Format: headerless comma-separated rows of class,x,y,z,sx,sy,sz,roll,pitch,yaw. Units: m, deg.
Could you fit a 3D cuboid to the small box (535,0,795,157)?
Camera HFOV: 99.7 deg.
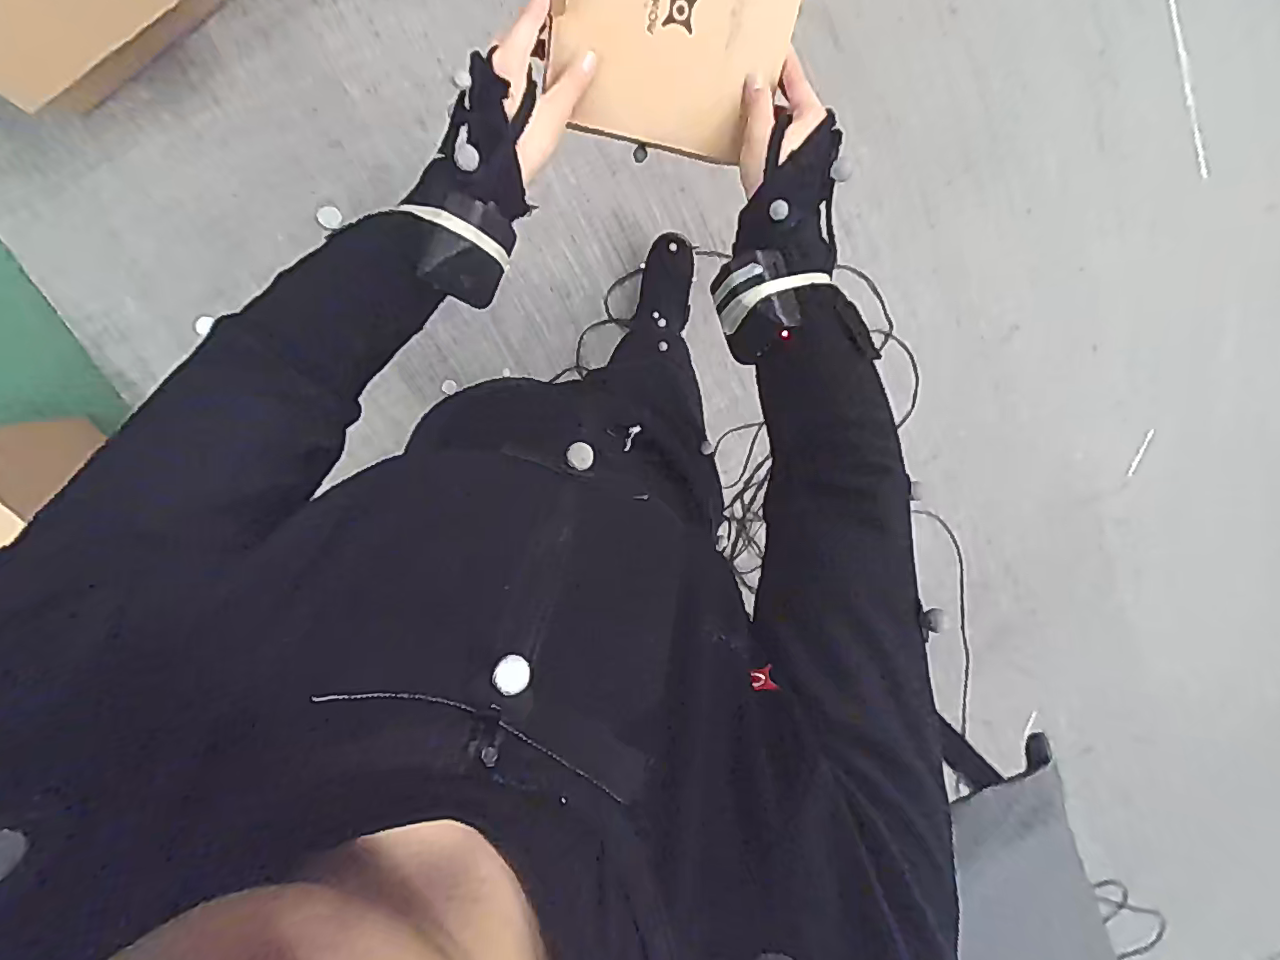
small box,0.016,-0.377,0.445,0.179,0.176,0.168,7,121,-10
